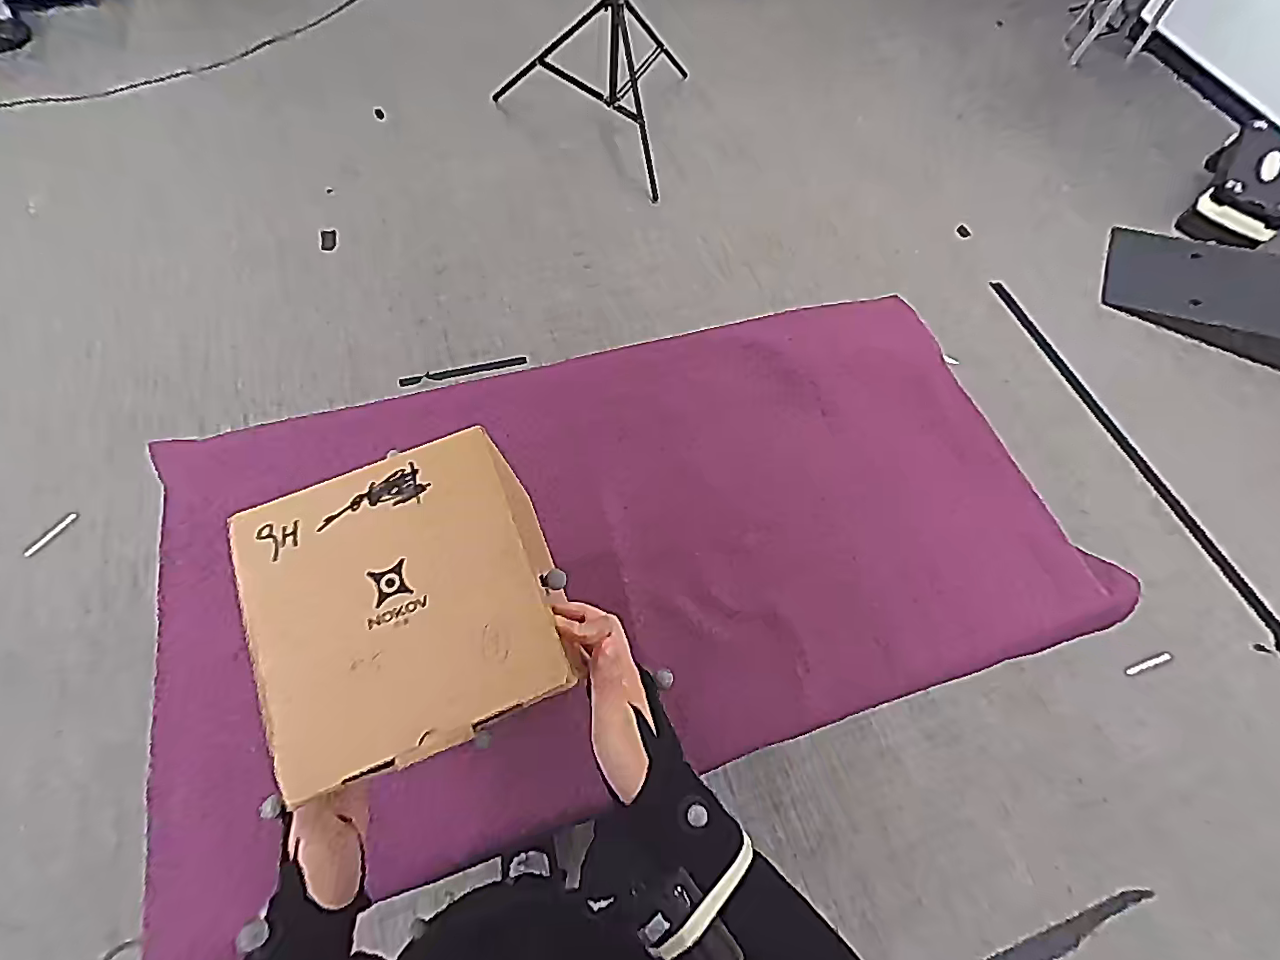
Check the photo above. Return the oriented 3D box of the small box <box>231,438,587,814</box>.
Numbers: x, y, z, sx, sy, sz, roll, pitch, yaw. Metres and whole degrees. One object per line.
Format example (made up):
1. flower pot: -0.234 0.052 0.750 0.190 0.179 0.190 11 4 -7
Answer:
1. small box: -0.145 0.097 0.398 0.168 0.176 0.179 -21 76 -7
